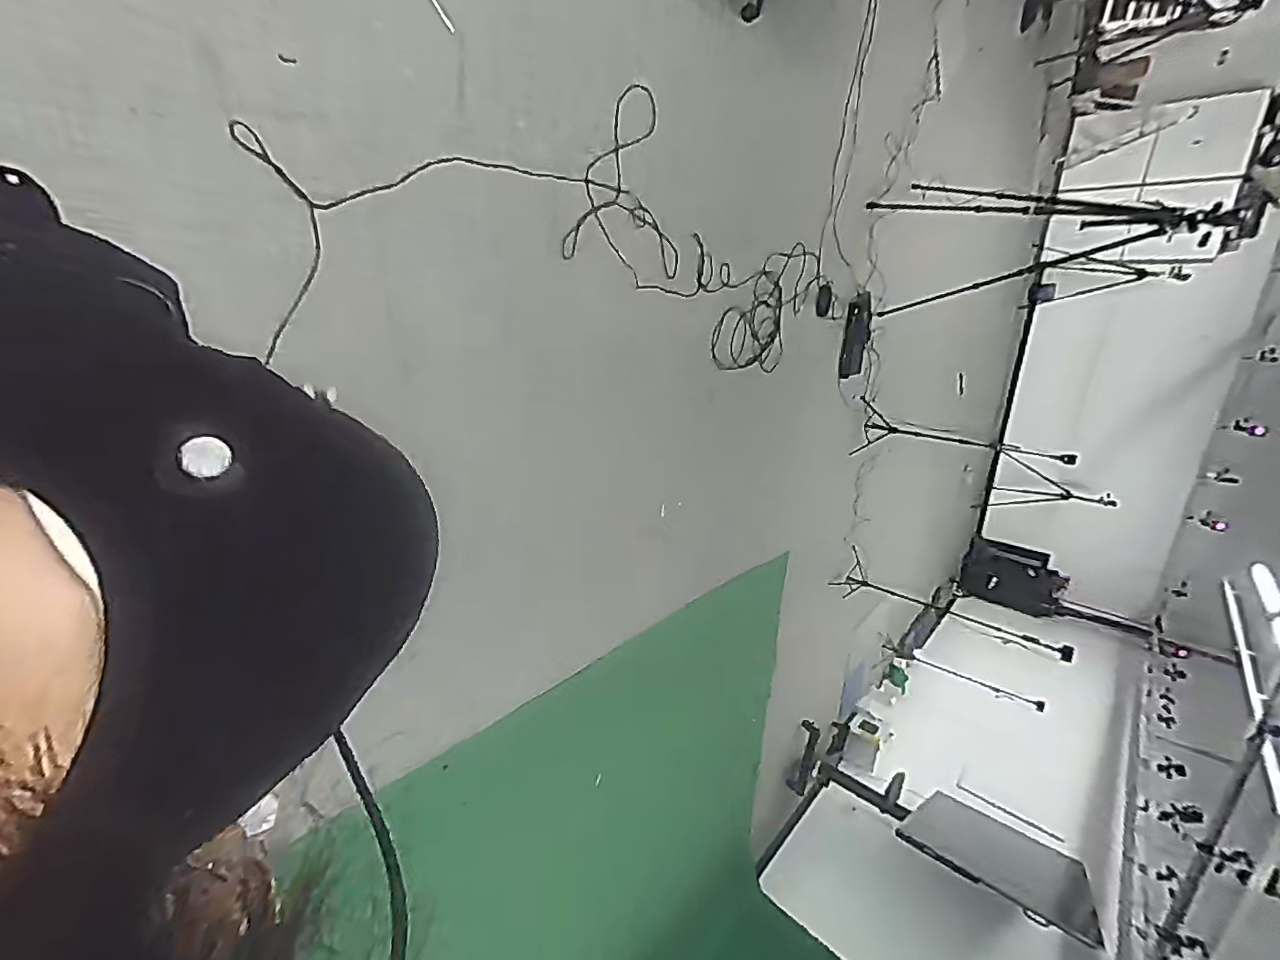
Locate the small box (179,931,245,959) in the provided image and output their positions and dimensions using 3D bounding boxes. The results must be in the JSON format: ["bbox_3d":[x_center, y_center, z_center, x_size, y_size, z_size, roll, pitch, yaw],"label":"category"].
[{"bbox_3d":[-0.954,1.159,1.183,0.168,0.176,0.179,-21,116,-42],"label":"small box"}]

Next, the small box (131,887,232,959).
[{"bbox_3d":[-1.079,1.137,1.289,0.168,0.176,0.179,-18,115,-43],"label":"small box"}]
